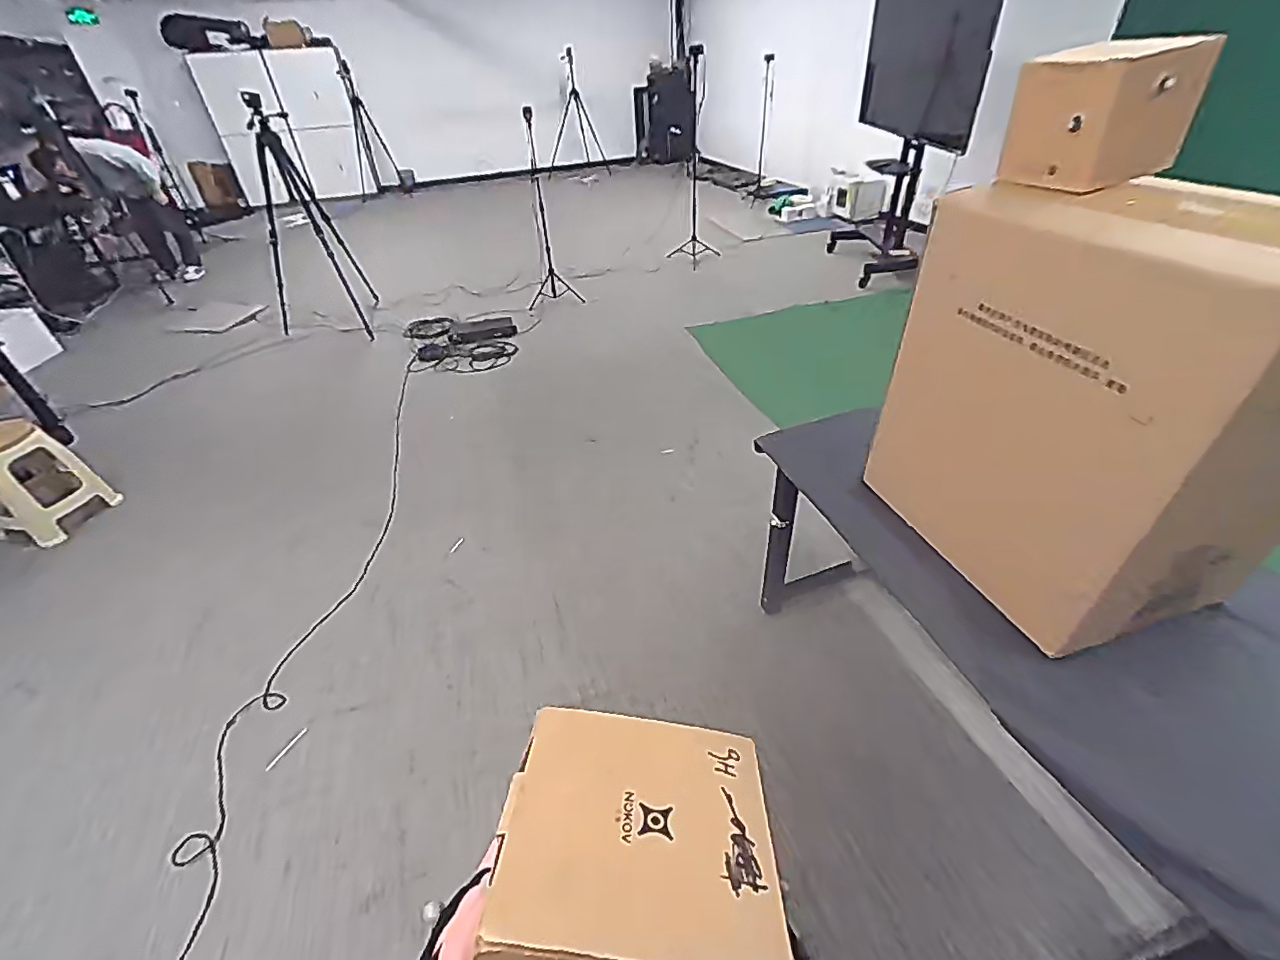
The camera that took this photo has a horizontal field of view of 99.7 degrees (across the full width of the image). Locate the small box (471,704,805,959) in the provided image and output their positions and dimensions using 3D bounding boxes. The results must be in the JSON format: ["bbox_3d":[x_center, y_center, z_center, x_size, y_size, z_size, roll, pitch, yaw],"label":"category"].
[{"bbox_3d":[-0.008,0.288,0.373,0.179,0.176,0.168,9,21,-1],"label":"small box"}]

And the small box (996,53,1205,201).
[{"bbox_3d":[0.707,-0.557,0.859,0.179,0.176,0.168,-18,40,-12],"label":"small box"}]
